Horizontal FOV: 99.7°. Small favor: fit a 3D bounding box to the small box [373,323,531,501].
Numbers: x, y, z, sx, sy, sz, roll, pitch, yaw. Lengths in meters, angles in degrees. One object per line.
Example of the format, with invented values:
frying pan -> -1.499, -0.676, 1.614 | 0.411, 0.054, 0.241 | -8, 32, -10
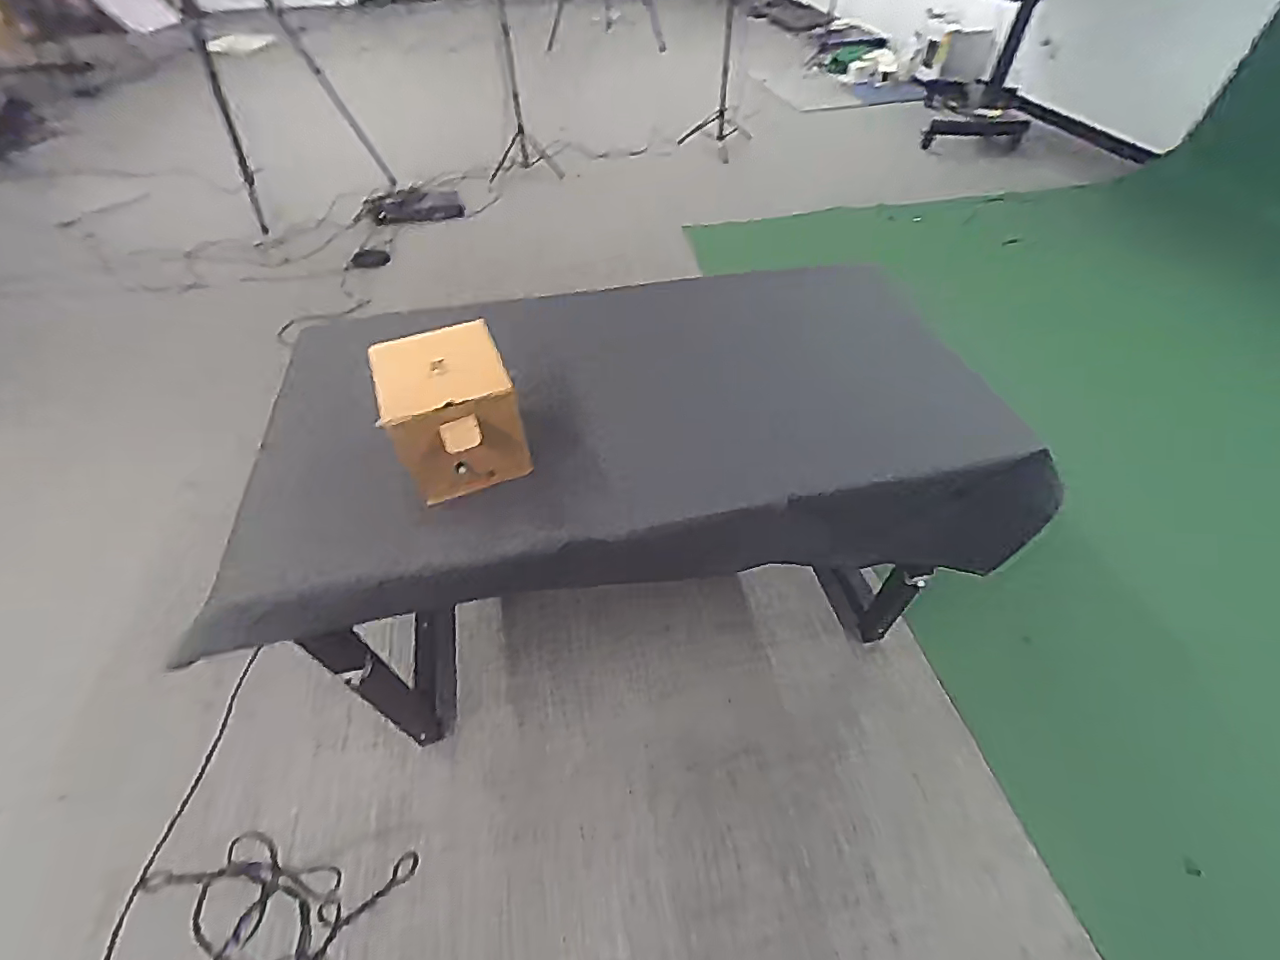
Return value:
small box -> -0.272, -0.100, 0.797 | 0.168, 0.176, 0.179 | -19, 52, -16
